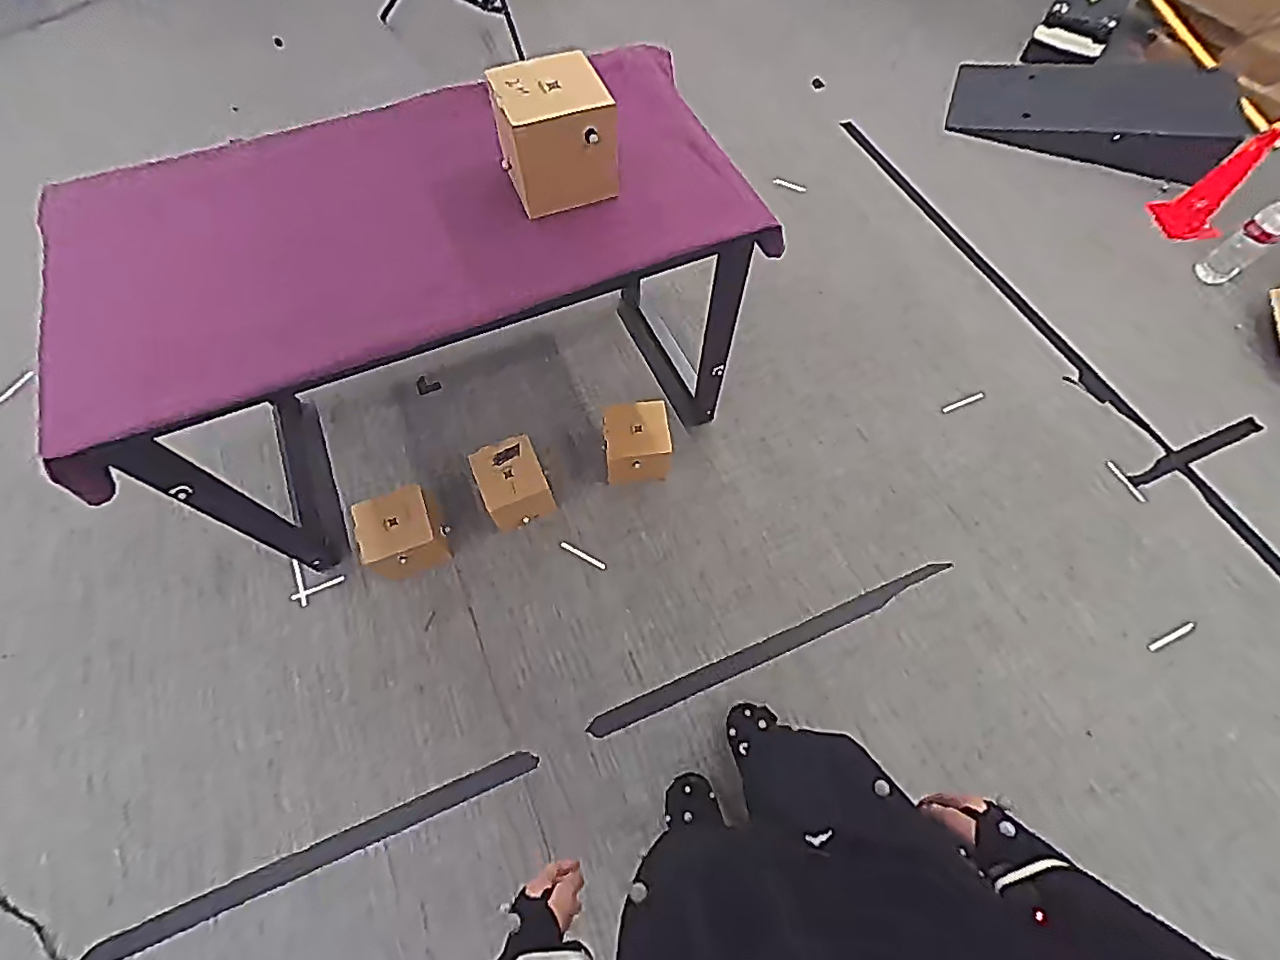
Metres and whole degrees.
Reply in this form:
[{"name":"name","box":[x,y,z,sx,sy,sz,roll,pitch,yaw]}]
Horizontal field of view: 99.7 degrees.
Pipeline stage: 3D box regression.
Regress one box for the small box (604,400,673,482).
[{"name":"small box","box":[-0.006,-0.106,1.527,0.179,0.176,0.168,-7,66,-2]}]

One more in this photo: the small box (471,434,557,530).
[{"name":"small box","box":[-0.339,0.010,1.469,0.168,0.176,0.179,-23,68,-10]}]

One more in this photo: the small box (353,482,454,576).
[{"name":"small box","box":[-0.611,0.135,1.412,0.179,0.176,0.168,-20,69,-10]}]

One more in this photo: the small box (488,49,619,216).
[{"name":"small box","box":[-0.145,-0.603,0.949,0.179,0.176,0.168,-20,66,-9]}]
